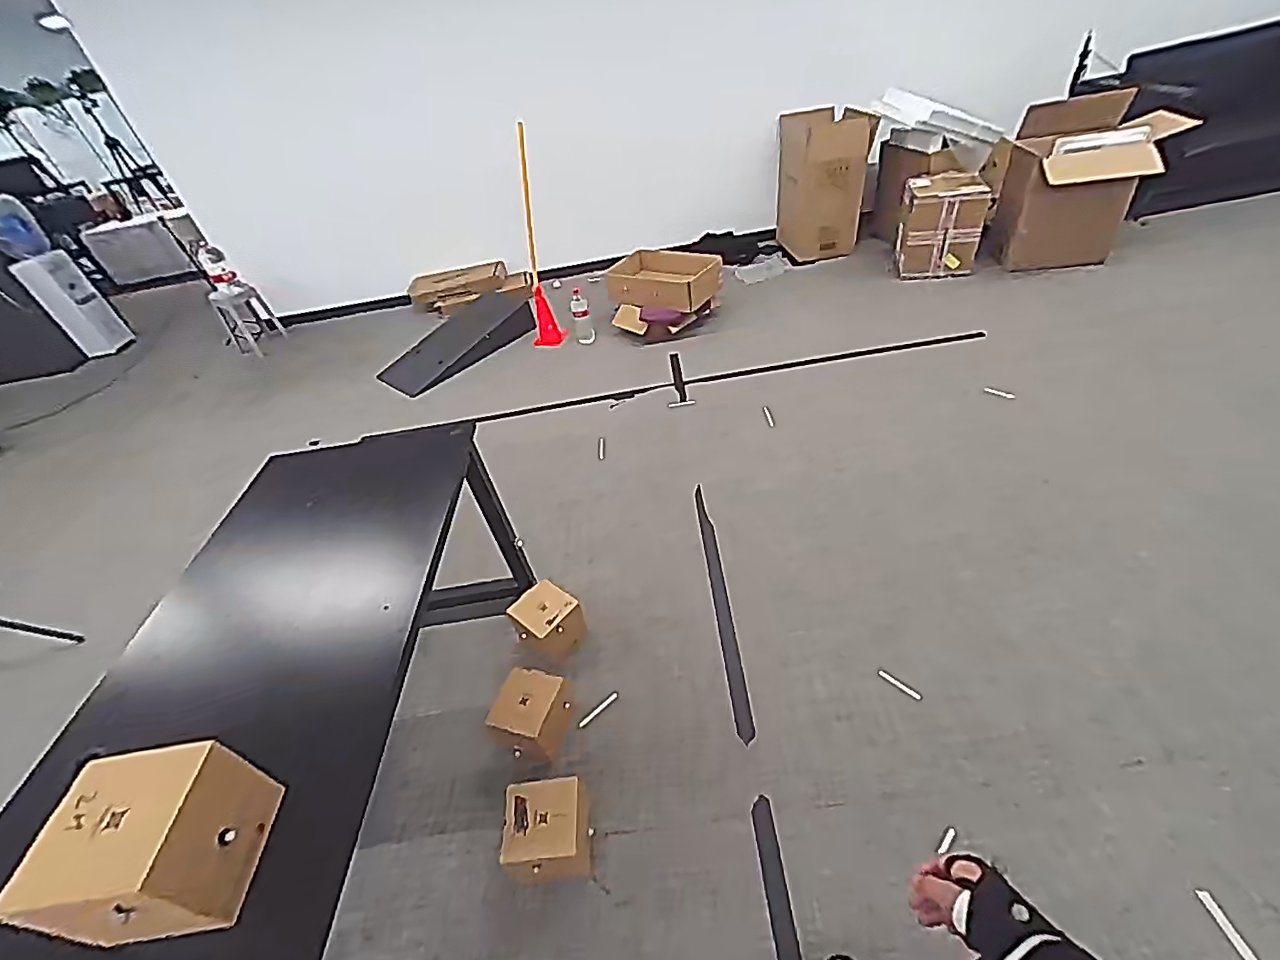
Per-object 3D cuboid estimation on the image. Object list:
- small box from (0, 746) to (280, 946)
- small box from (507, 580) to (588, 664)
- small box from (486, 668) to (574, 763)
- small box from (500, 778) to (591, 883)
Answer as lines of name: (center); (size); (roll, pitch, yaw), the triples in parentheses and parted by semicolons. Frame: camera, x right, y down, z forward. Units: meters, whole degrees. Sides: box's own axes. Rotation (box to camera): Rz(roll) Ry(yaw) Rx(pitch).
small box: (-0.617, 0.472, 0.699); (0.179, 0.176, 0.168); (-11, 40, 2)
small box: (-0.296, 0.464, 1.757); (0.179, 0.176, 0.168); (24, 52, 34)
small box: (-0.301, 0.666, 1.530); (0.168, 0.176, 0.179); (5, 44, 19)
small box: (-0.220, 0.846, 1.303); (0.179, 0.176, 0.168); (-8, 41, 2)
